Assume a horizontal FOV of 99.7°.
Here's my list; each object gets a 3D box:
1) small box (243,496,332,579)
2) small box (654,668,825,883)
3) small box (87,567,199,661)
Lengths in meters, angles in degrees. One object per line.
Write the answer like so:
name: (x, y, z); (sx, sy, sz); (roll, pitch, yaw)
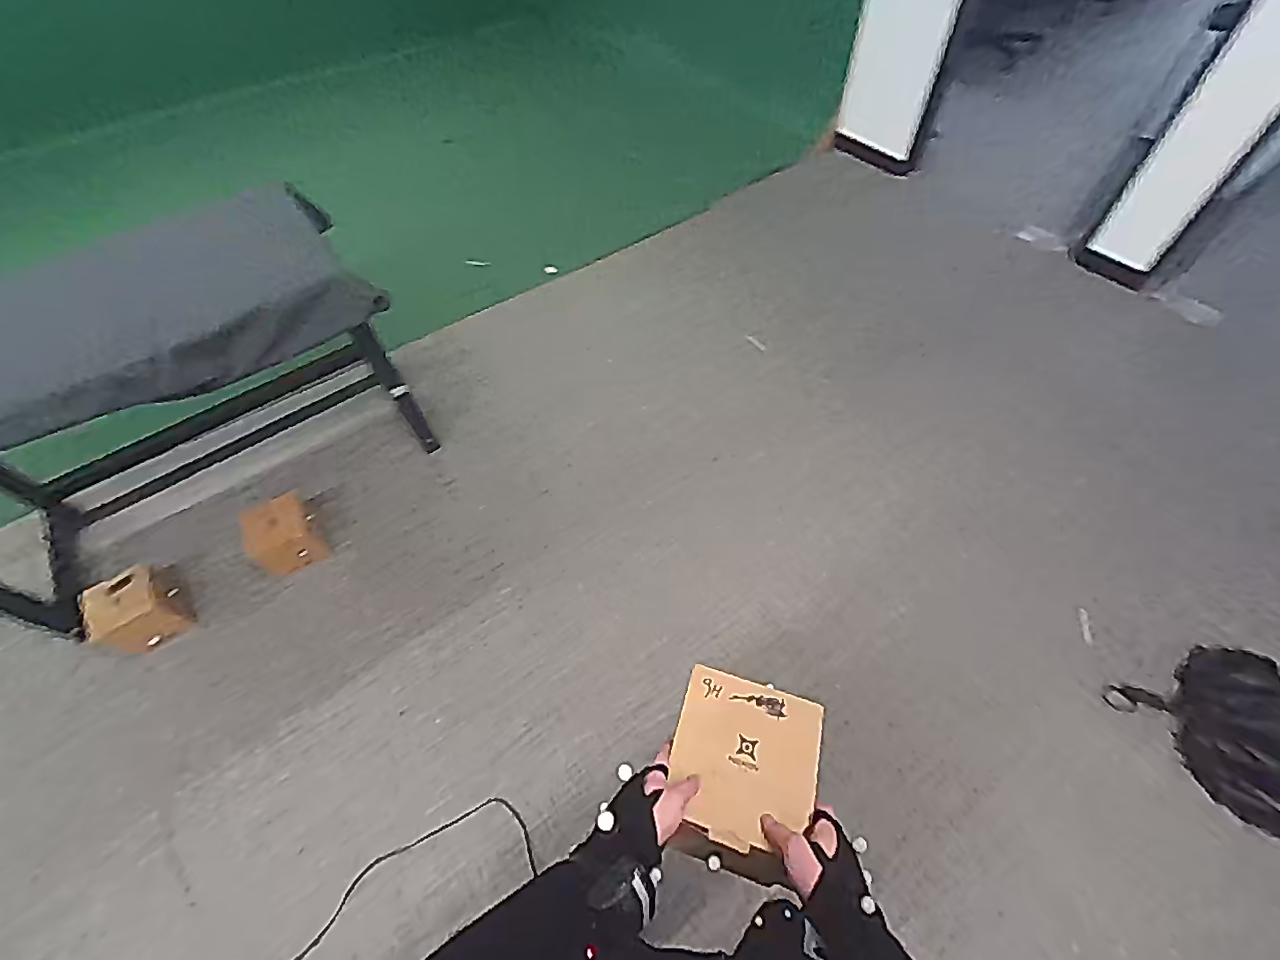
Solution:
small box: (-1.094, 0.188, 1.688); (0.168, 0.176, 0.179); (-27, 58, -15)
small box: (0.117, 0.367, 0.667); (0.168, 0.176, 0.179); (14, 50, 9)
small box: (-1.434, 0.392, 1.568); (0.168, 0.176, 0.179); (-33, 61, -17)
